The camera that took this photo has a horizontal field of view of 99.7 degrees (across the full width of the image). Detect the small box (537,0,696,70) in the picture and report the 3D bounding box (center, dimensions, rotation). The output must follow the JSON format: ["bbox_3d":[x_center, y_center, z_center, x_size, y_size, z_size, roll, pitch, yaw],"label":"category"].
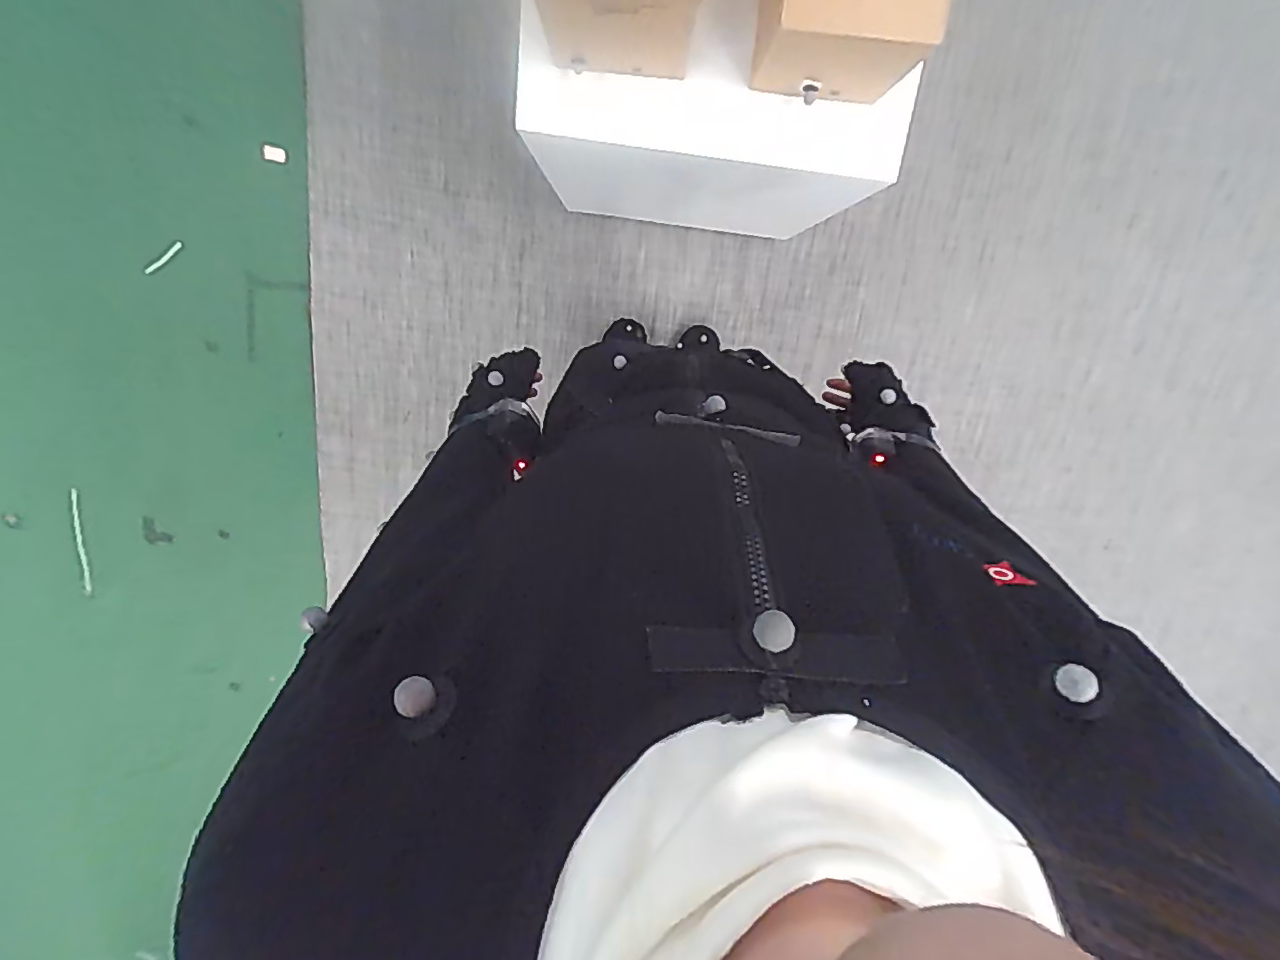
[{"bbox_3d":[-0.016,-0.576,0.577,0.168,0.176,0.179,4,106,-2],"label":"small box"}]

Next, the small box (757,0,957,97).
[{"bbox_3d":[0.228,-0.544,0.573,0.168,0.176,0.179,5,109,0],"label":"small box"}]
